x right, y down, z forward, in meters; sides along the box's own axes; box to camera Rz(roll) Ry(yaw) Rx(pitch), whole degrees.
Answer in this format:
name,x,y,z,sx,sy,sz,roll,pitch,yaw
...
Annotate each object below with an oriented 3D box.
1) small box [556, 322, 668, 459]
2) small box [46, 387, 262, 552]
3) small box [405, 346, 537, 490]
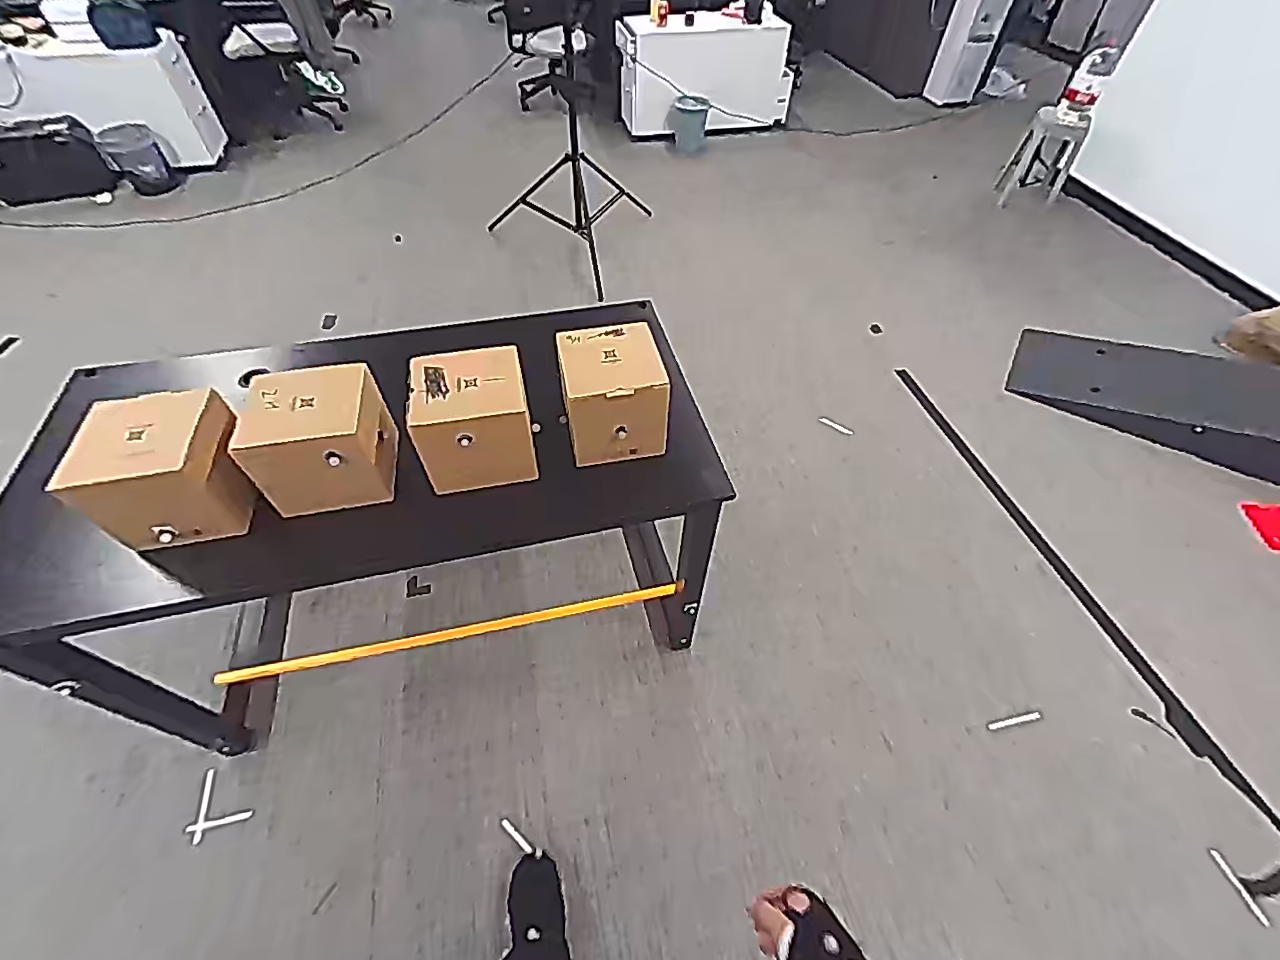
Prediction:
name,x,y,z,sx,sy,sz,roll,pitch,yaw
small box,-0.052,-0.152,0.958,0.168,0.176,0.179,-9,52,-9
small box,-0.724,-0.015,0.836,0.168,0.176,0.179,-11,53,-8
small box,-0.278,-0.101,0.913,0.179,0.176,0.168,-9,52,-10
